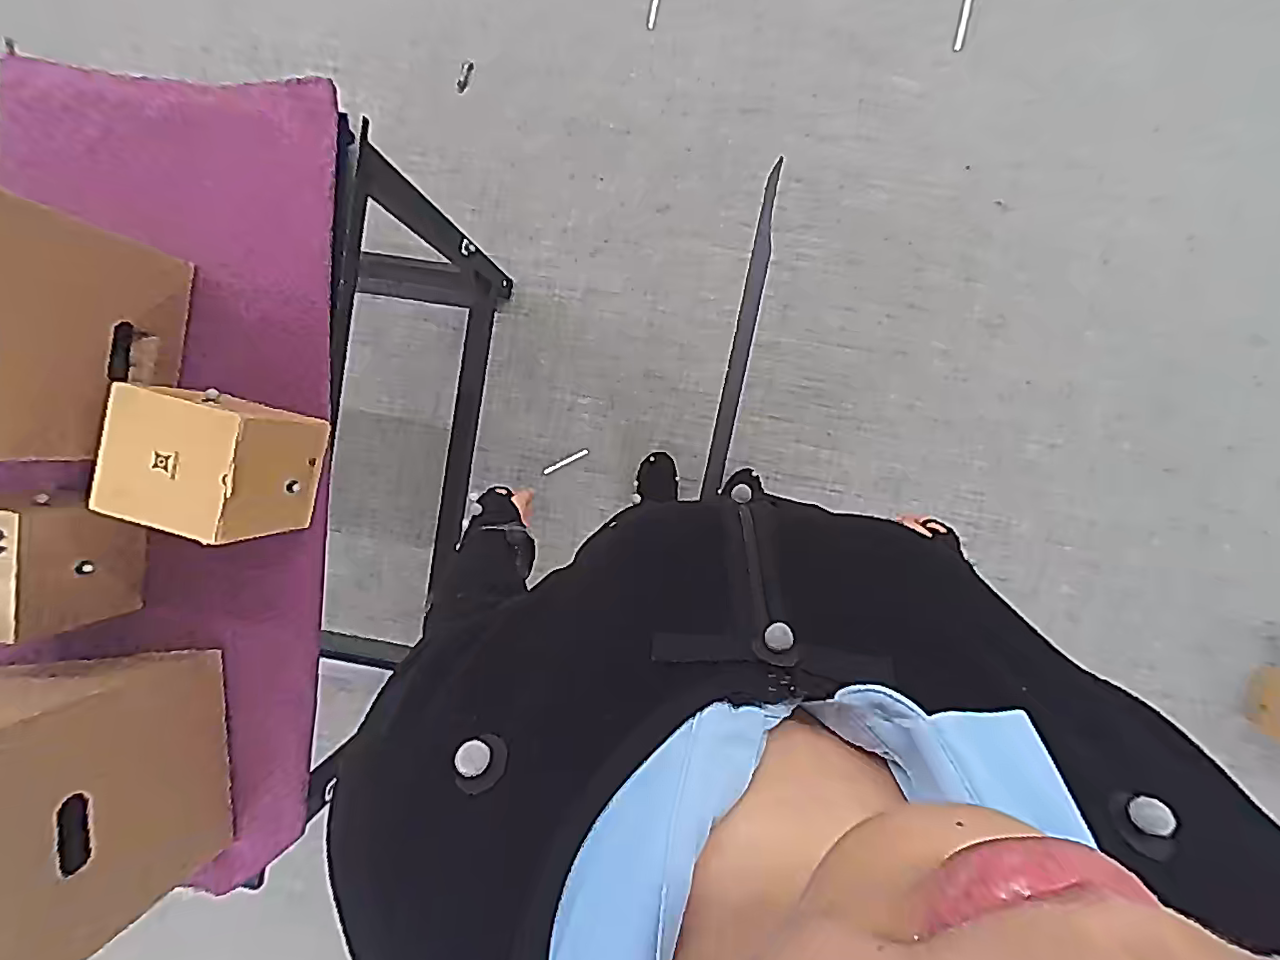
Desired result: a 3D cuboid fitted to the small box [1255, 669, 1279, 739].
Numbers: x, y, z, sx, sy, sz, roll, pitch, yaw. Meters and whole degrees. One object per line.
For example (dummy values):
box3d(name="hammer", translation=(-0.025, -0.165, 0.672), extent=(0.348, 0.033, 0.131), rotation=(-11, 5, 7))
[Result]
box3d(name="small box", translation=(1.670, 0.574, 1.308), extent=(0.179, 0.176, 0.168), rotation=(7, 93, 4))
